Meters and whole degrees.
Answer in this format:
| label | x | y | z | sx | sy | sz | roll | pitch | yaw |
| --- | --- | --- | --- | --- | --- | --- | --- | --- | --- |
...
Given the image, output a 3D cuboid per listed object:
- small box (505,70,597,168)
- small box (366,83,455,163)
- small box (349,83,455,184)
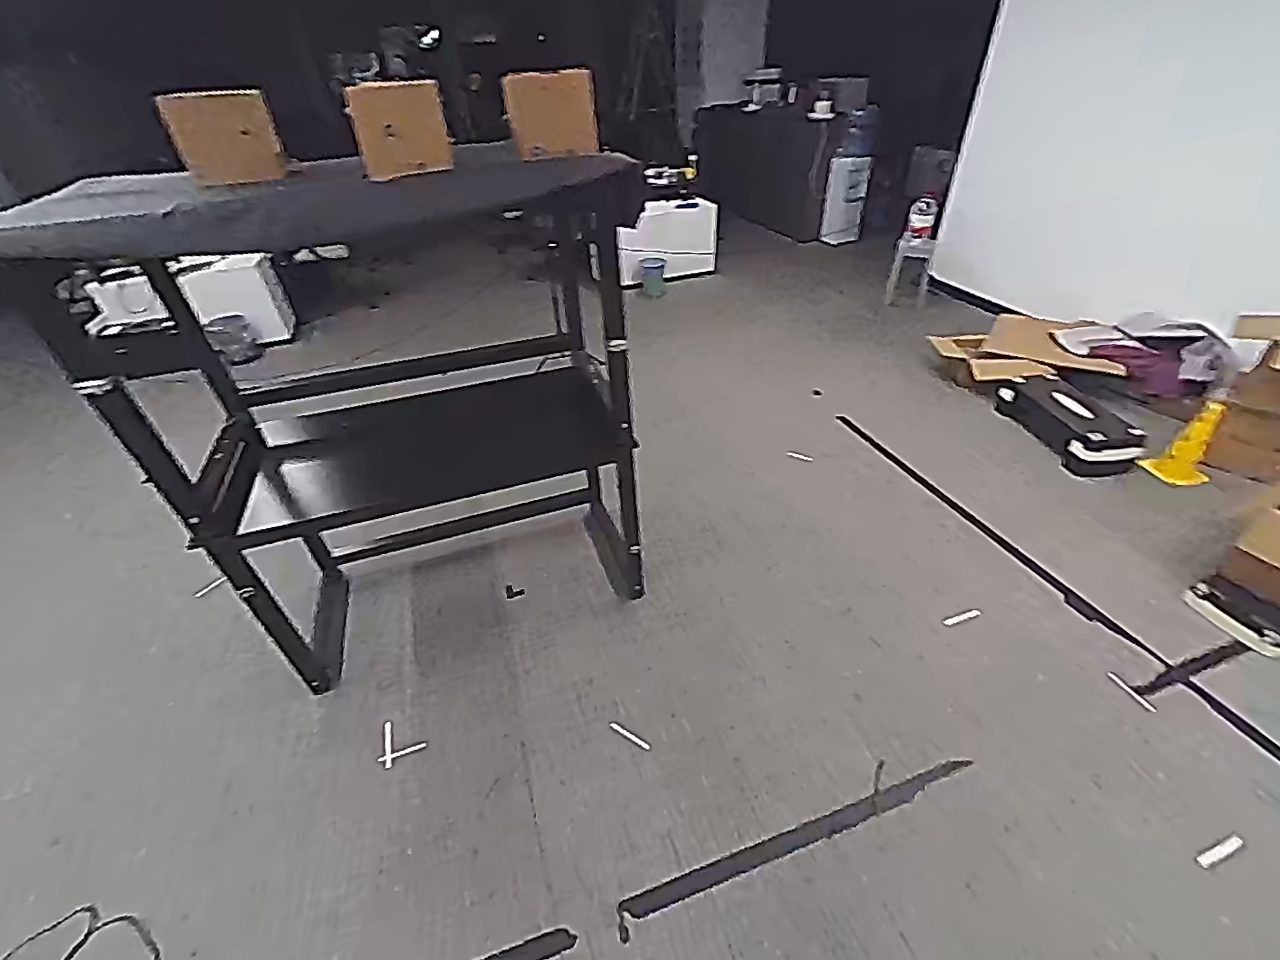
| label | x | y | z | sx | sy | sz | roll | pitch | yaw |
| --- | --- | --- | --- | --- | --- | --- | --- | --- | --- |
| small box | -0.199 | -0.809 | 1.219 | 0.168 | 0.176 | 0.179 | -13 | 35 | -11 |
| small box | -0.574 | -0.893 | 1.365 | 0.168 | 0.176 | 0.179 | -14 | 38 | -14 |
| small box | -0.505 | -0.747 | 1.168 | 0.168 | 0.176 | 0.179 | -14 | 37 | -14 |
